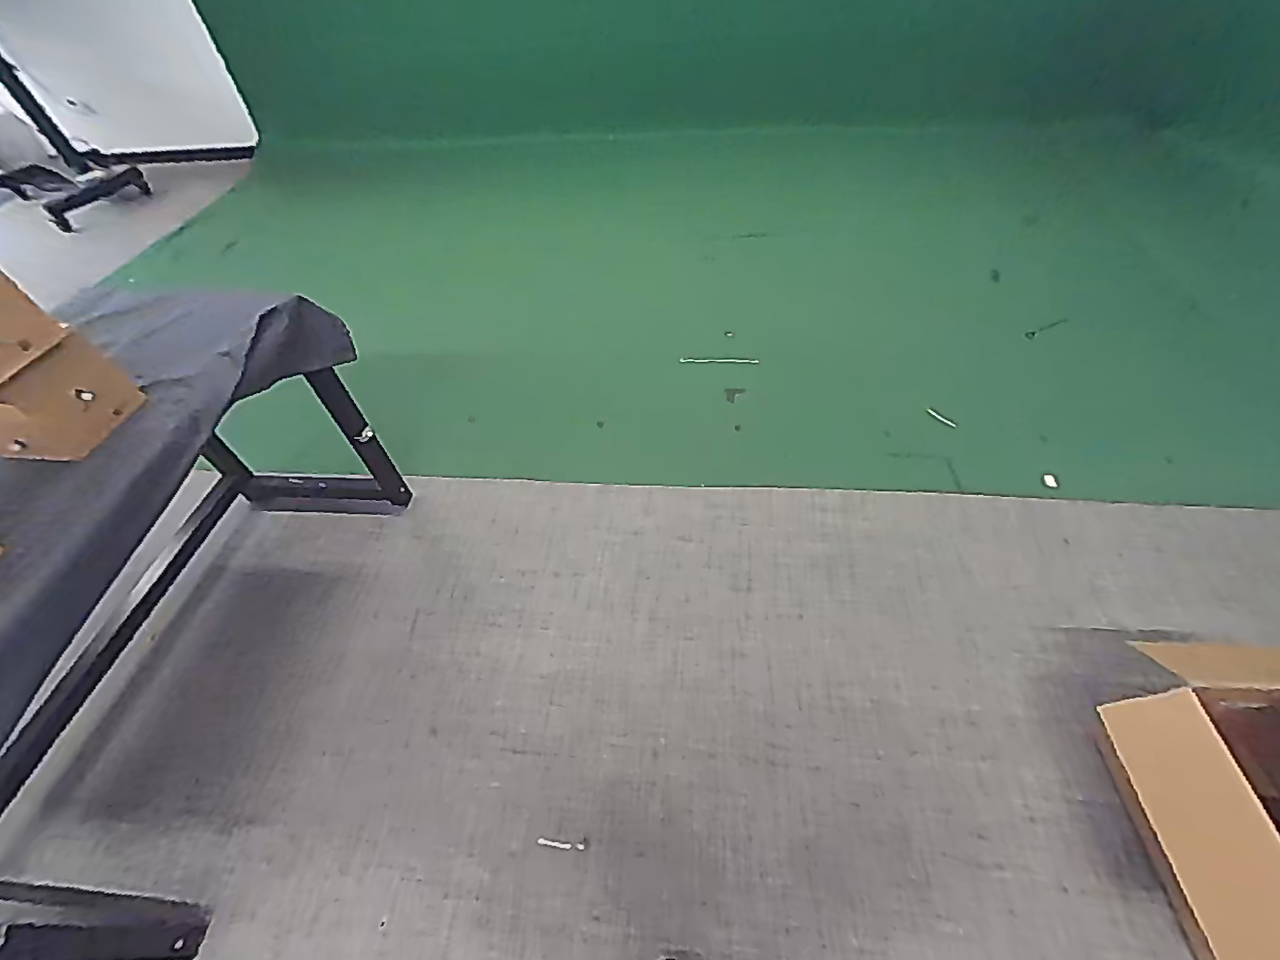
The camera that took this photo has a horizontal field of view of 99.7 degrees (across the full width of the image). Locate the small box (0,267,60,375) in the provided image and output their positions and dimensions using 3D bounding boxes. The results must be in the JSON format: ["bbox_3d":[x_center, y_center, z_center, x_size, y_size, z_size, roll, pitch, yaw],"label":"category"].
[{"bbox_3d":[-1.045,-0.243,0.788,0.179,0.176,0.168,5,51,8],"label":"small box"}]

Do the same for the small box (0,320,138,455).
[{"bbox_3d":[-1.044,-0.158,0.930,0.179,0.176,0.168,3,51,6],"label":"small box"}]
